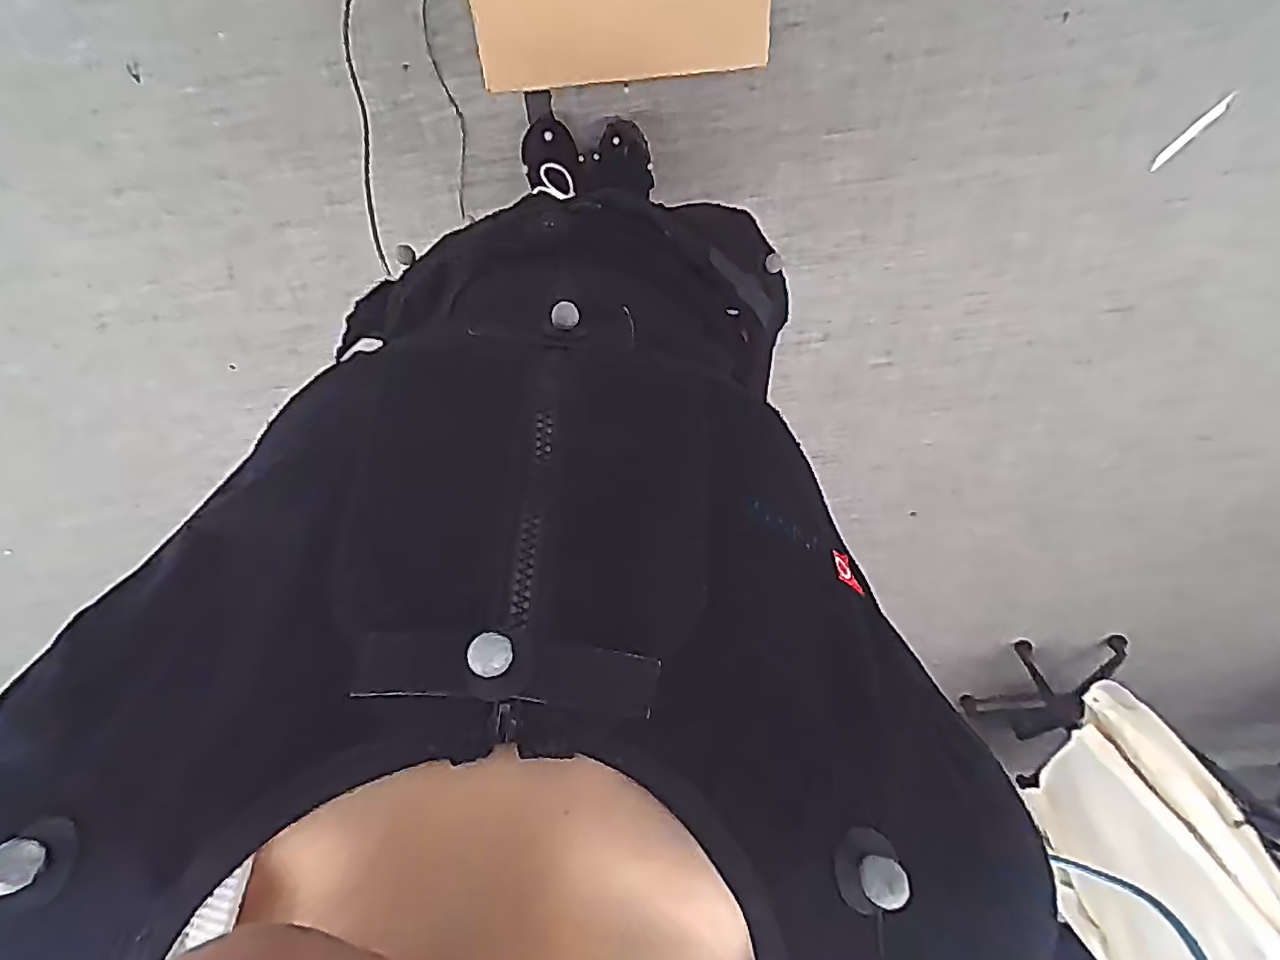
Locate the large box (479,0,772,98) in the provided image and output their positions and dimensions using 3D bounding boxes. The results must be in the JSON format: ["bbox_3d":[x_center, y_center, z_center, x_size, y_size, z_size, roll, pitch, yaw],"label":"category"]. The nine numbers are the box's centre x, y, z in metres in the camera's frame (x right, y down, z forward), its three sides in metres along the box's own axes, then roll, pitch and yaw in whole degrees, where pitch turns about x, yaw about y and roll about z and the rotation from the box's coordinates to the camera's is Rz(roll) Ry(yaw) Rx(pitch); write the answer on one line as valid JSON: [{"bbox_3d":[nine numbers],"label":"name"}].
[{"bbox_3d":[-0.032,-0.786,0.811,0.408,0.320,0.320,-5,127,1],"label":"large box"}]
